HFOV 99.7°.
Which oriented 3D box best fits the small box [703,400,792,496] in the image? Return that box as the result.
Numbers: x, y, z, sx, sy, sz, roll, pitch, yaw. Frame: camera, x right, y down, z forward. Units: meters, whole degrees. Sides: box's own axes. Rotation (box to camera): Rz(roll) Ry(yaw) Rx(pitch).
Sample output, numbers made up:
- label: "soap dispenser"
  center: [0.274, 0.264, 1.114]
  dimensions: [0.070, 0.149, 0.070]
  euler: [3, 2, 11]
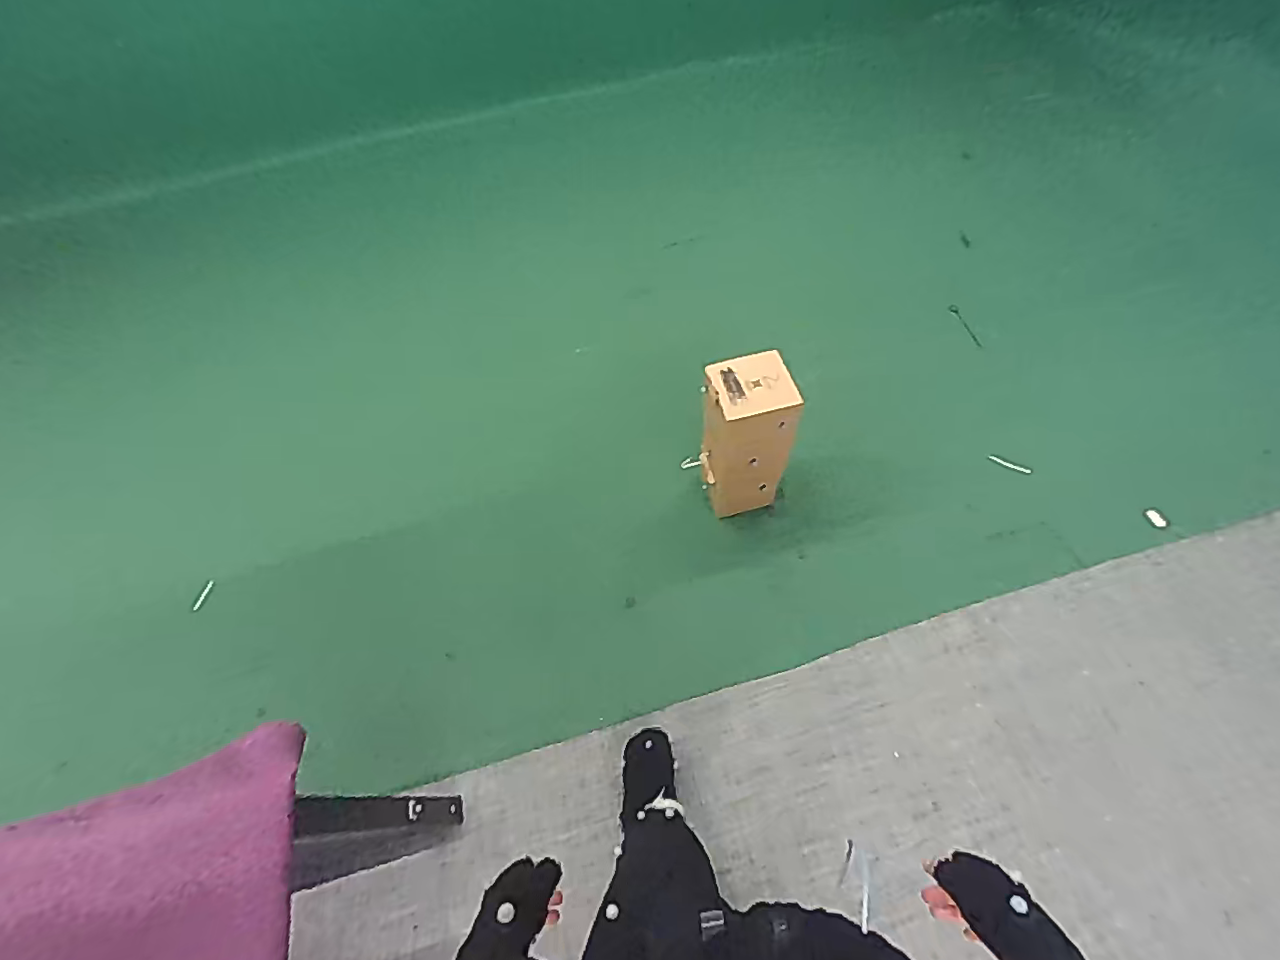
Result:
- label: "small box"
  center: [0.273, -0.080, 1.415]
  dimensions: [0.179, 0.176, 0.168]
  euler: [-14, 59, -3]

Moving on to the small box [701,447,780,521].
- label: "small box"
  center: [0.281, -0.002, 1.558]
  dimensions: [0.179, 0.176, 0.168]
  euler: [-14, 59, -4]
